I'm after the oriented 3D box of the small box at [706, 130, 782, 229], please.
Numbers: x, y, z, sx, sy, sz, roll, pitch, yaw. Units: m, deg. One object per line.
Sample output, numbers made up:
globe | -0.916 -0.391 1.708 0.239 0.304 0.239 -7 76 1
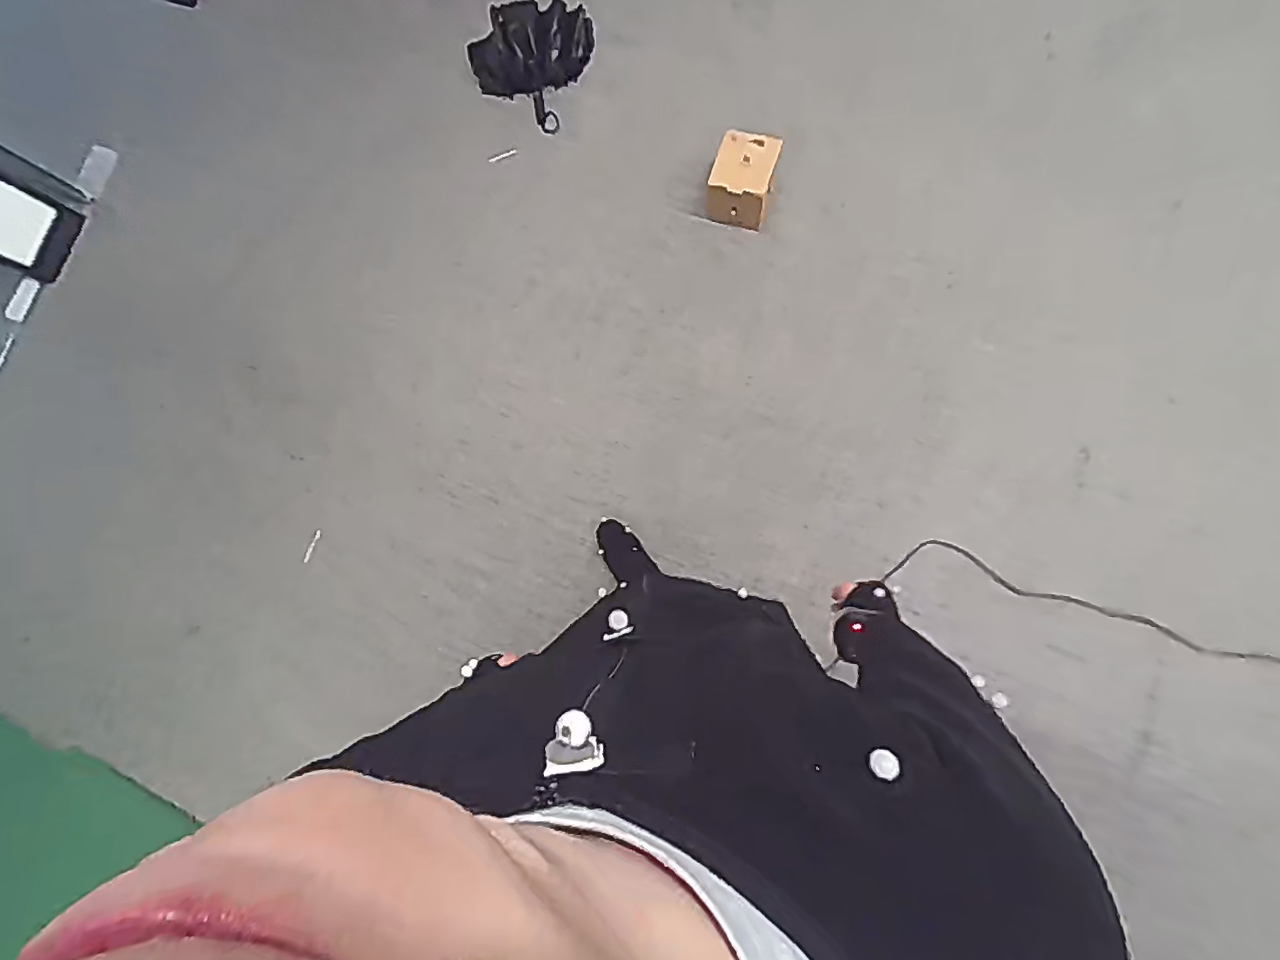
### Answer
small box | 0.300 -0.864 1.568 0.168 0.176 0.179 19 86 10
